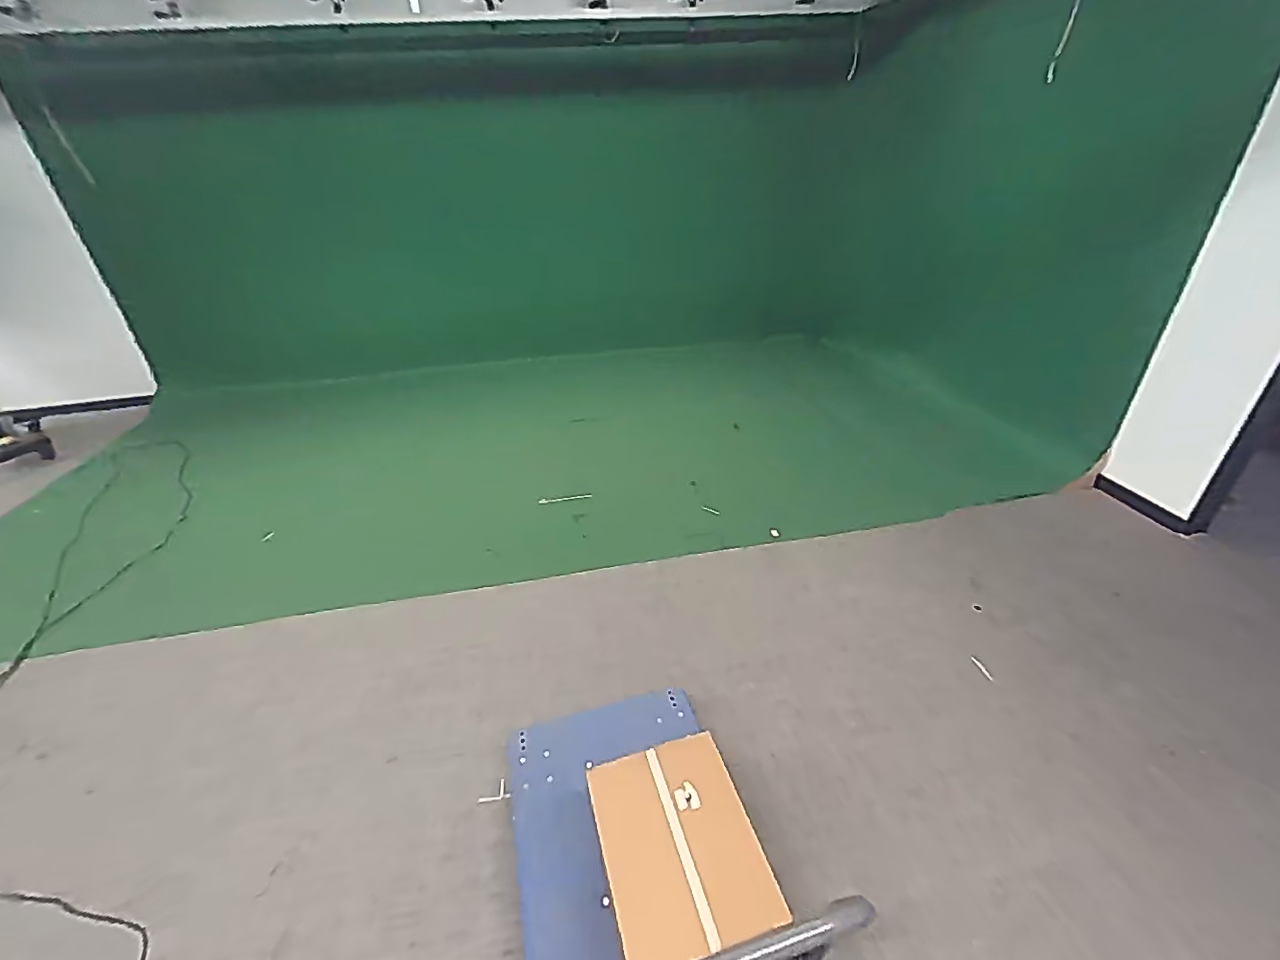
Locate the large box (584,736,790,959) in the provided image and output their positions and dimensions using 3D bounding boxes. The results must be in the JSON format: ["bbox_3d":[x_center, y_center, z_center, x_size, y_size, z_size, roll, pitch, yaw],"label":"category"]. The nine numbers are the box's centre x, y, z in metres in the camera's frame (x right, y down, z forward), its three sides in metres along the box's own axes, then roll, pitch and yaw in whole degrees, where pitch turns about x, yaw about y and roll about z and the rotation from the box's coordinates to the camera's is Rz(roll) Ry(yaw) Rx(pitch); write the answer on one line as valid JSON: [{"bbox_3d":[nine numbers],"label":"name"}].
[{"bbox_3d":[0.083,0.872,1.189,0.320,0.320,0.408,-10,32,-13],"label":"large box"}]
